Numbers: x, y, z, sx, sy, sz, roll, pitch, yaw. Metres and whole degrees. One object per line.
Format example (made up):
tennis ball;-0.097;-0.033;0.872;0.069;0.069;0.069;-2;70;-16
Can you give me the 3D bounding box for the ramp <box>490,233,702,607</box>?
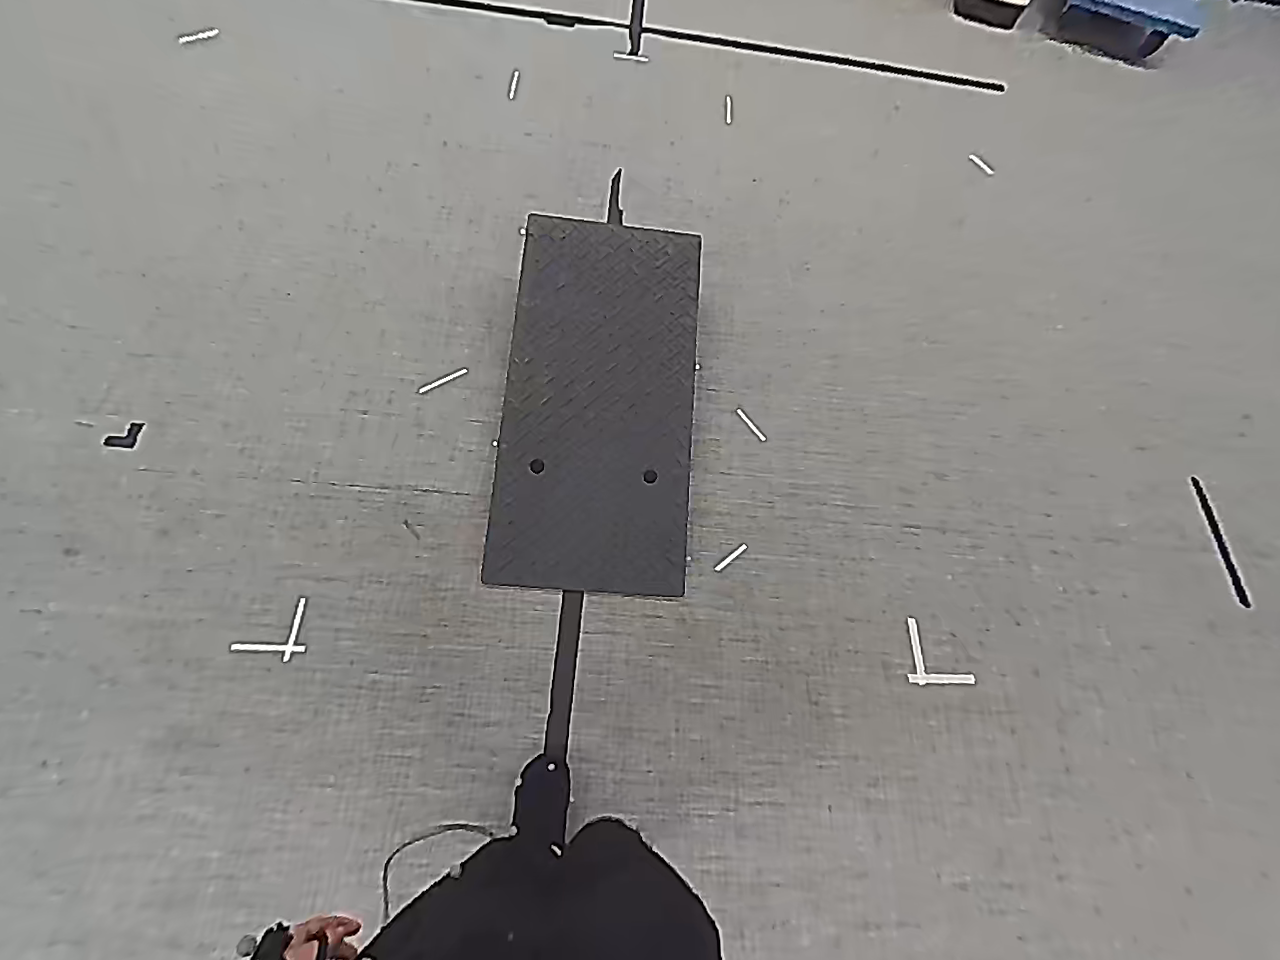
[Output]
ramp;-0.088;-0.189;1.418;0.509;0.206;0.991;3;66;-6
